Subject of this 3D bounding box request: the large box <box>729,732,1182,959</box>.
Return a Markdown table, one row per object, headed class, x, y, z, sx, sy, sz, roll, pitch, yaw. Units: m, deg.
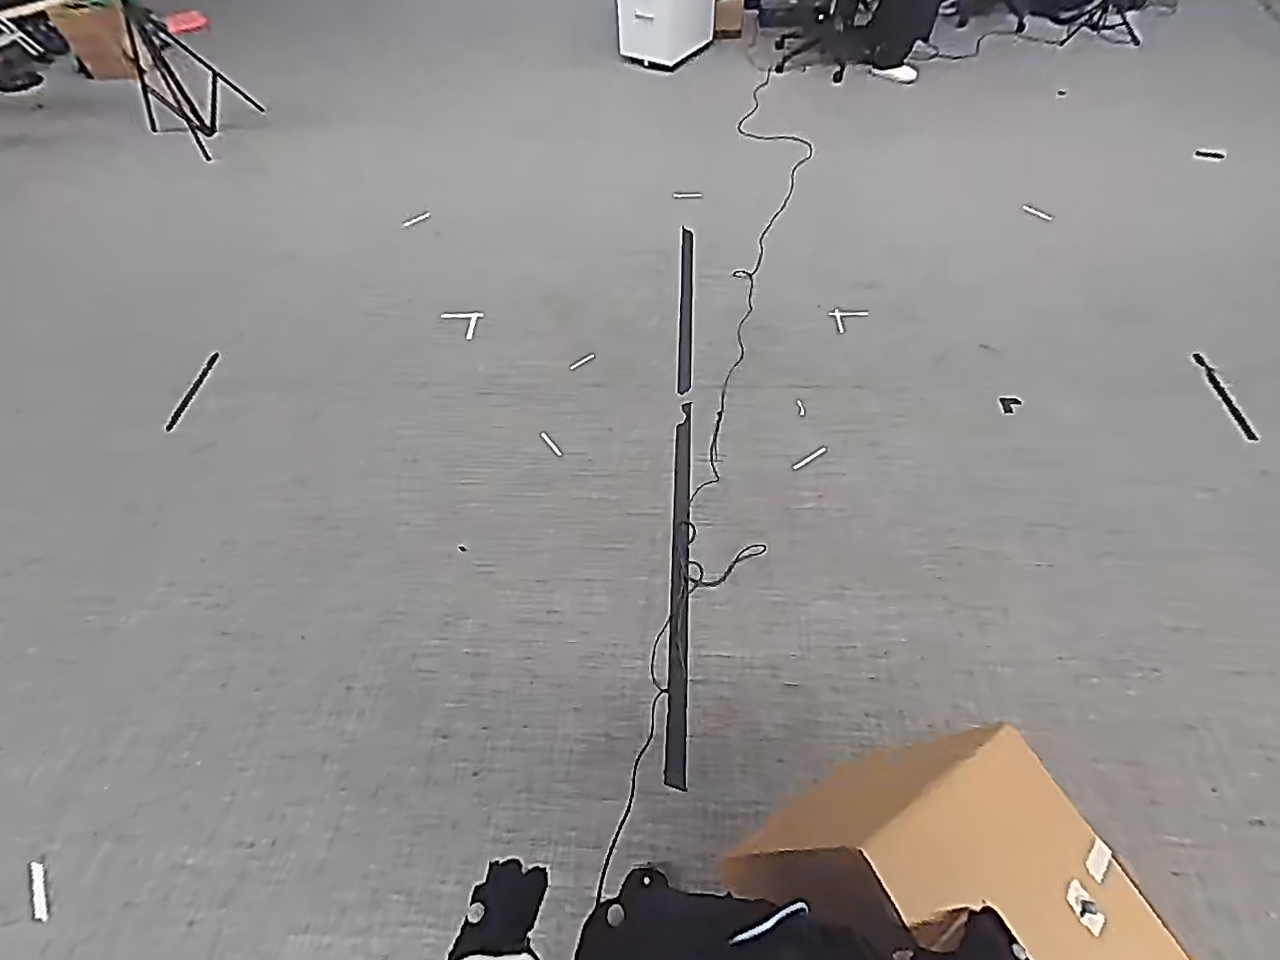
| class | x | y | z | sx | sy | sz | roll | pitch | yaw |
| --- | --- | --- | --- | --- | --- | --- | --- | --- | --- |
| large box | 0.391 | 0.604 | 0.755 | 0.320 | 0.408 | 0.320 | -15 | 61 | -26 |
